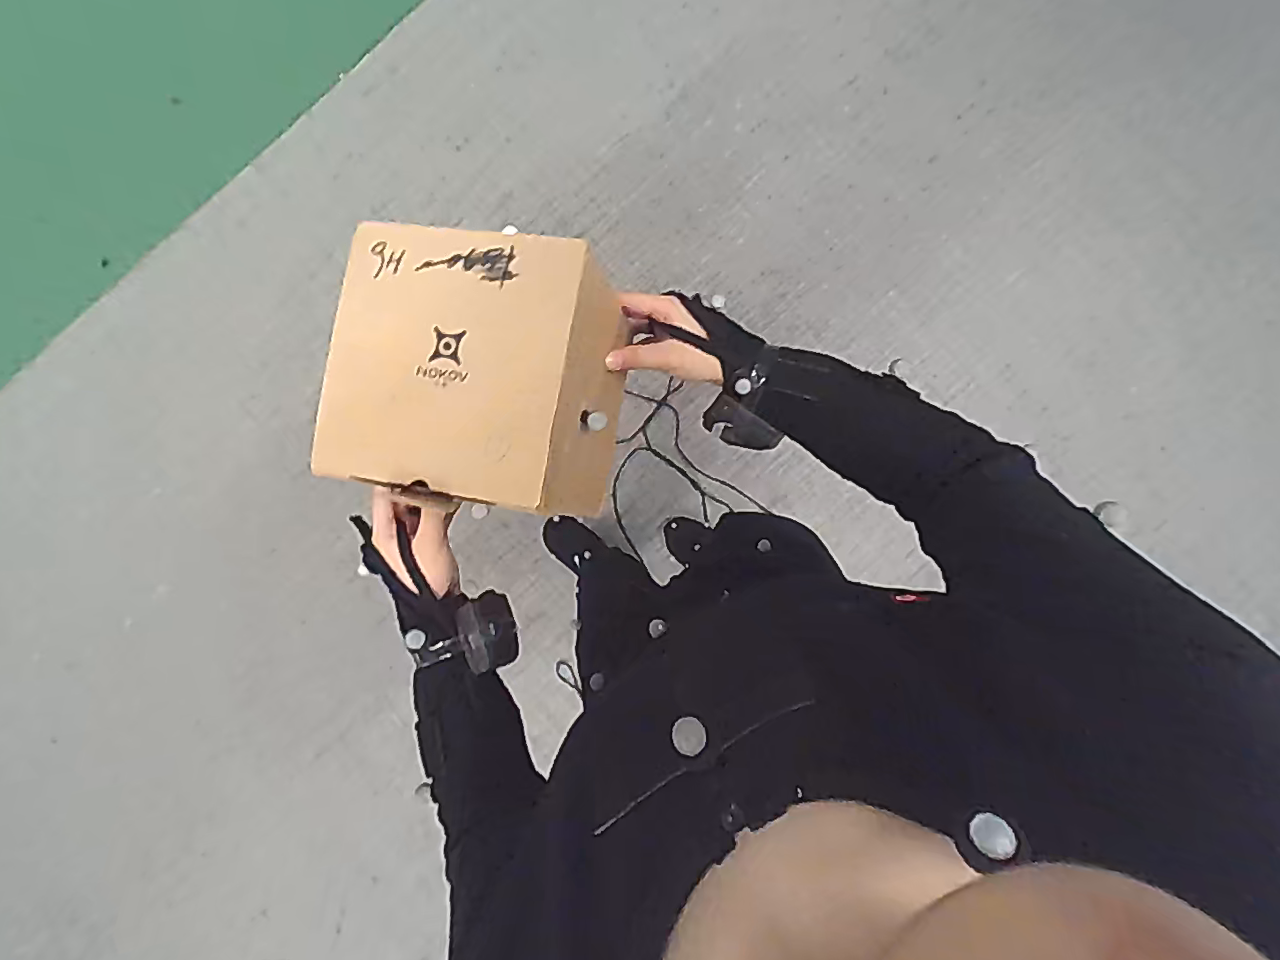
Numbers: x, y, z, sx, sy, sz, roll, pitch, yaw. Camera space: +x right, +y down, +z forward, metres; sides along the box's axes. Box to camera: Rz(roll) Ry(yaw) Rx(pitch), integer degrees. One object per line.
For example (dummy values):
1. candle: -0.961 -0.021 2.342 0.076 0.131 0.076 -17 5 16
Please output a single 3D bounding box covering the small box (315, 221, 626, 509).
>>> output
1. small box: -0.115 -0.076 0.433 0.168 0.176 0.179 9 89 10
